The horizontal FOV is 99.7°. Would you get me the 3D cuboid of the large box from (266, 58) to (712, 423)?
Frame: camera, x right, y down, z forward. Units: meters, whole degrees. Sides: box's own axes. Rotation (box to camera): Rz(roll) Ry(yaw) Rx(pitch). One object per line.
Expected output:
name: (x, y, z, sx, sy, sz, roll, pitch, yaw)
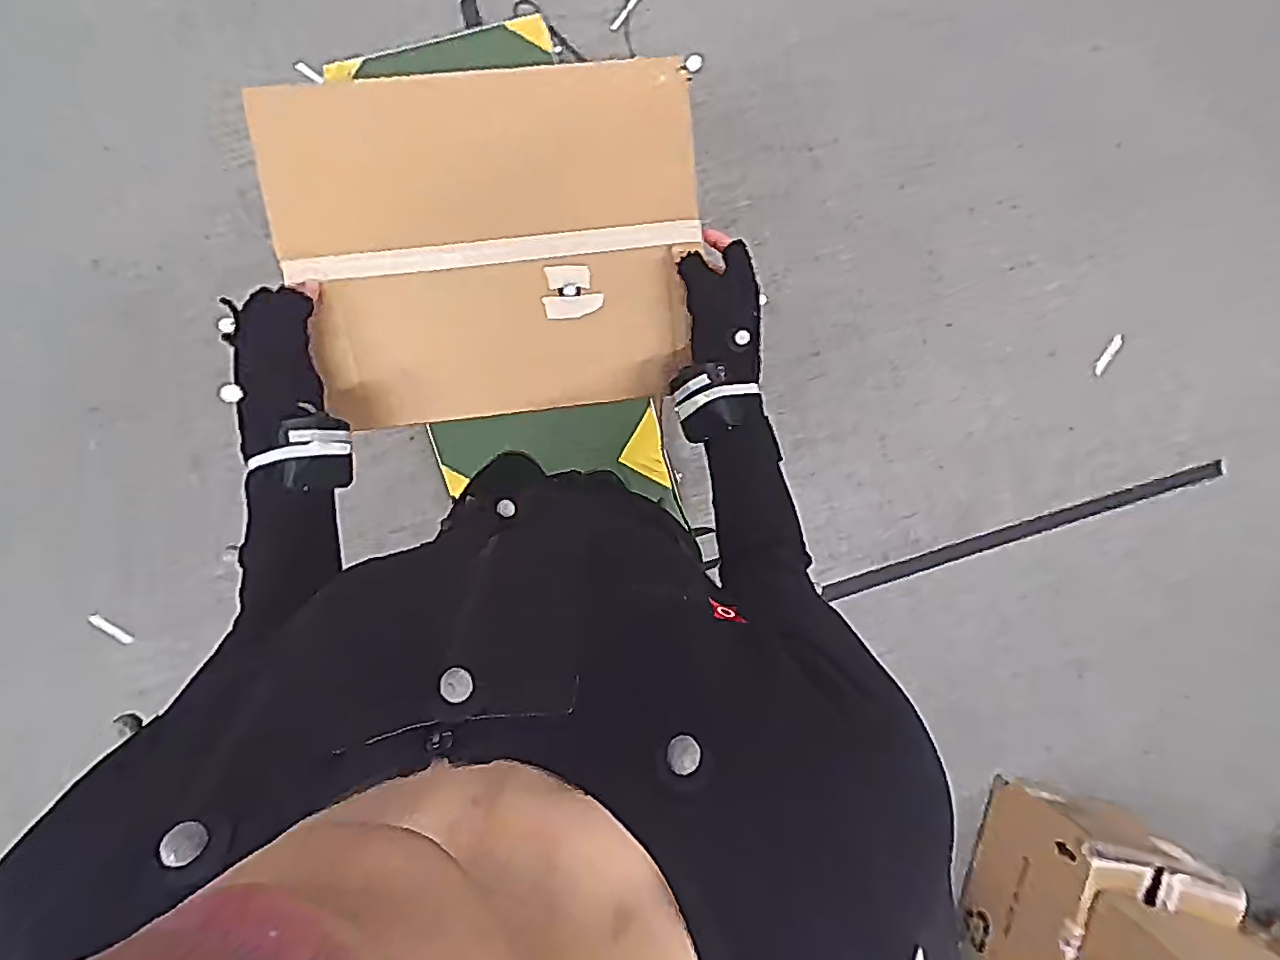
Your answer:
large box: (-0.151, -0.263, 0.689, 0.408, 0.320, 0.320, -8, 102, -4)
